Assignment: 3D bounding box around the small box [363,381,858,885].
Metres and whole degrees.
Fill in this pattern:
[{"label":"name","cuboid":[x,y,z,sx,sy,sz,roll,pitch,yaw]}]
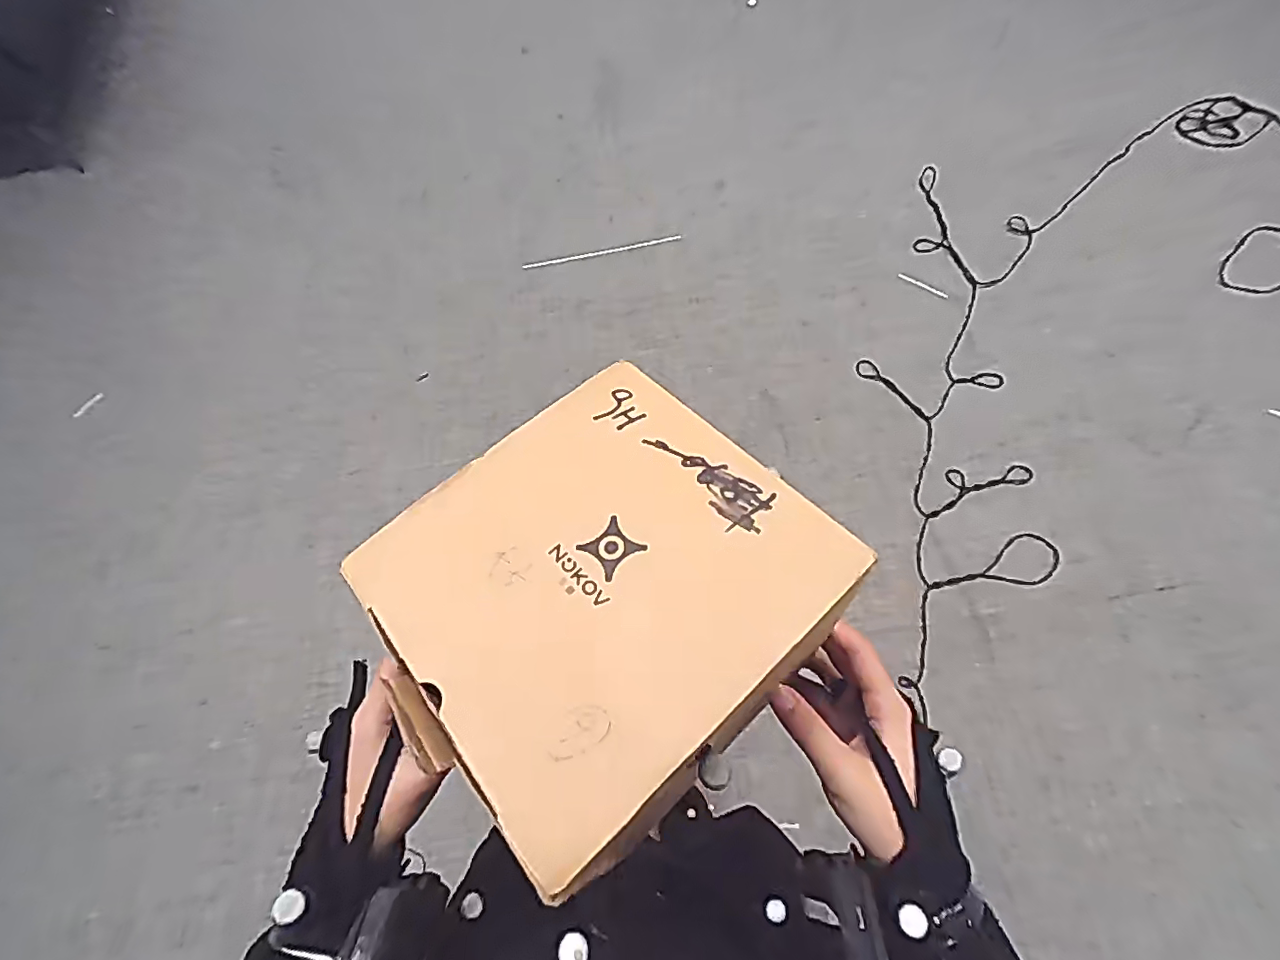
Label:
[{"label":"small box","cuboid":[-0.010,0.085,0.314,0.179,0.176,0.168,-40,62,-17]}]
